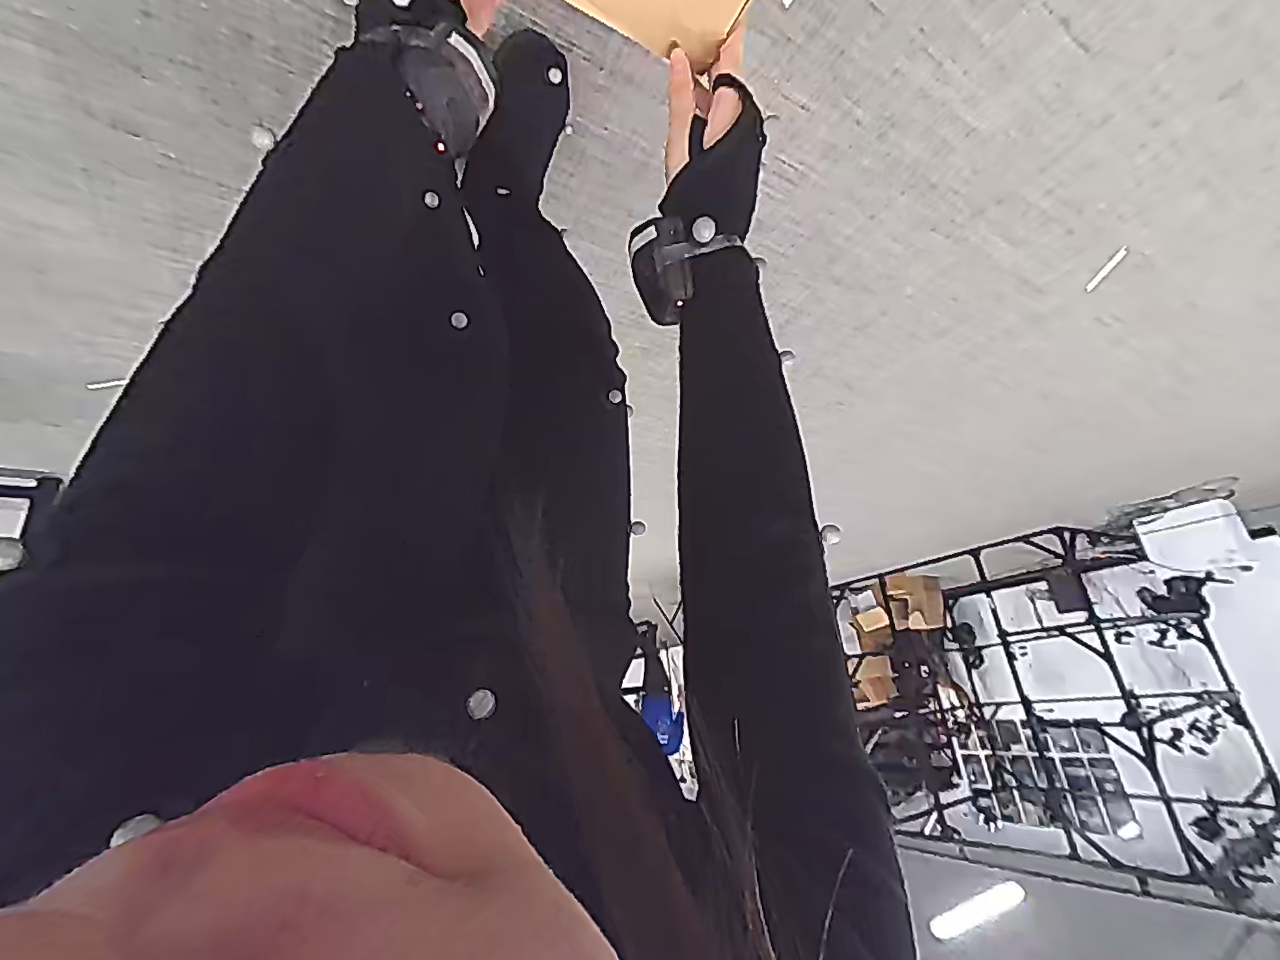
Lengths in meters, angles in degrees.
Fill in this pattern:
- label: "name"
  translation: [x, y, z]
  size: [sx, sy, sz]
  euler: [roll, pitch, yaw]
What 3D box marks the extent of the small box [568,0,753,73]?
- label: "small box"
  translation: [0.005, -0.408, 0.319]
  size: [0.179, 0.176, 0.168]
  euler: [7, 155, -29]
